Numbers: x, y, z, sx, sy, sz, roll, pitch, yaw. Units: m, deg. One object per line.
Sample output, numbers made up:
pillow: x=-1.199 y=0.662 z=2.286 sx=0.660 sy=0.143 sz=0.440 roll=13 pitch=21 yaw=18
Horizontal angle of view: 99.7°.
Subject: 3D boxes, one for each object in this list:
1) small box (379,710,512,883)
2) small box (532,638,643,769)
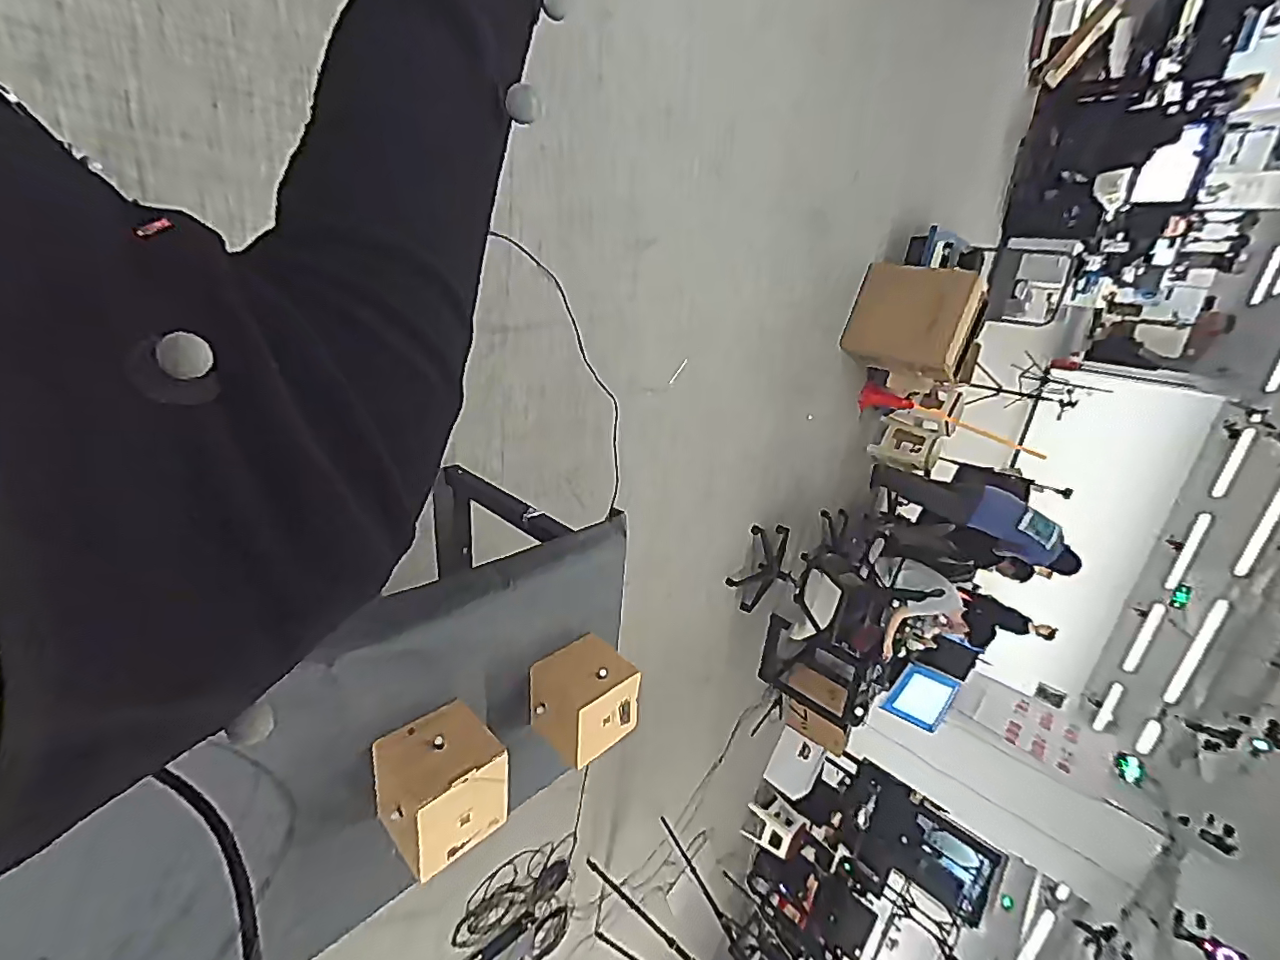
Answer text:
small box: x=-0.345 y=0.541 z=0.959 sx=0.168 sy=0.176 sz=0.179 roll=-16 pitch=119 yaw=-45
small box: x=-0.117 y=0.480 z=1.193 sx=0.179 sy=0.176 sz=0.168 roll=-18 pitch=121 yaw=-42
